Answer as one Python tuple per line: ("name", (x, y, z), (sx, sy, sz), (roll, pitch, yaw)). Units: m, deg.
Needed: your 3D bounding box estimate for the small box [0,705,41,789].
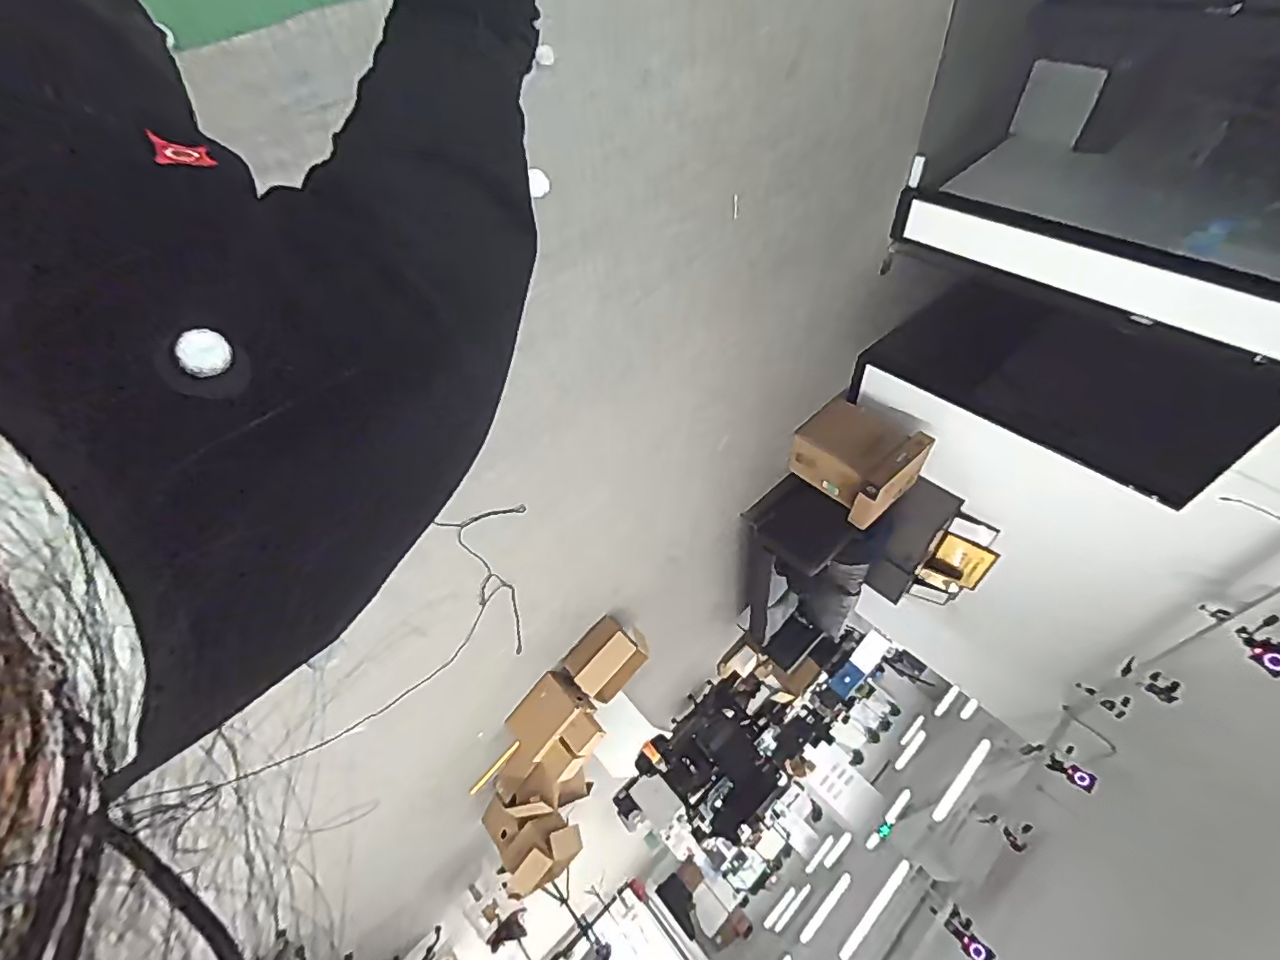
("small box", (-1.609, 0.651, 1.286), (0.179, 0.176, 0.168), (-41, 148, -17))
